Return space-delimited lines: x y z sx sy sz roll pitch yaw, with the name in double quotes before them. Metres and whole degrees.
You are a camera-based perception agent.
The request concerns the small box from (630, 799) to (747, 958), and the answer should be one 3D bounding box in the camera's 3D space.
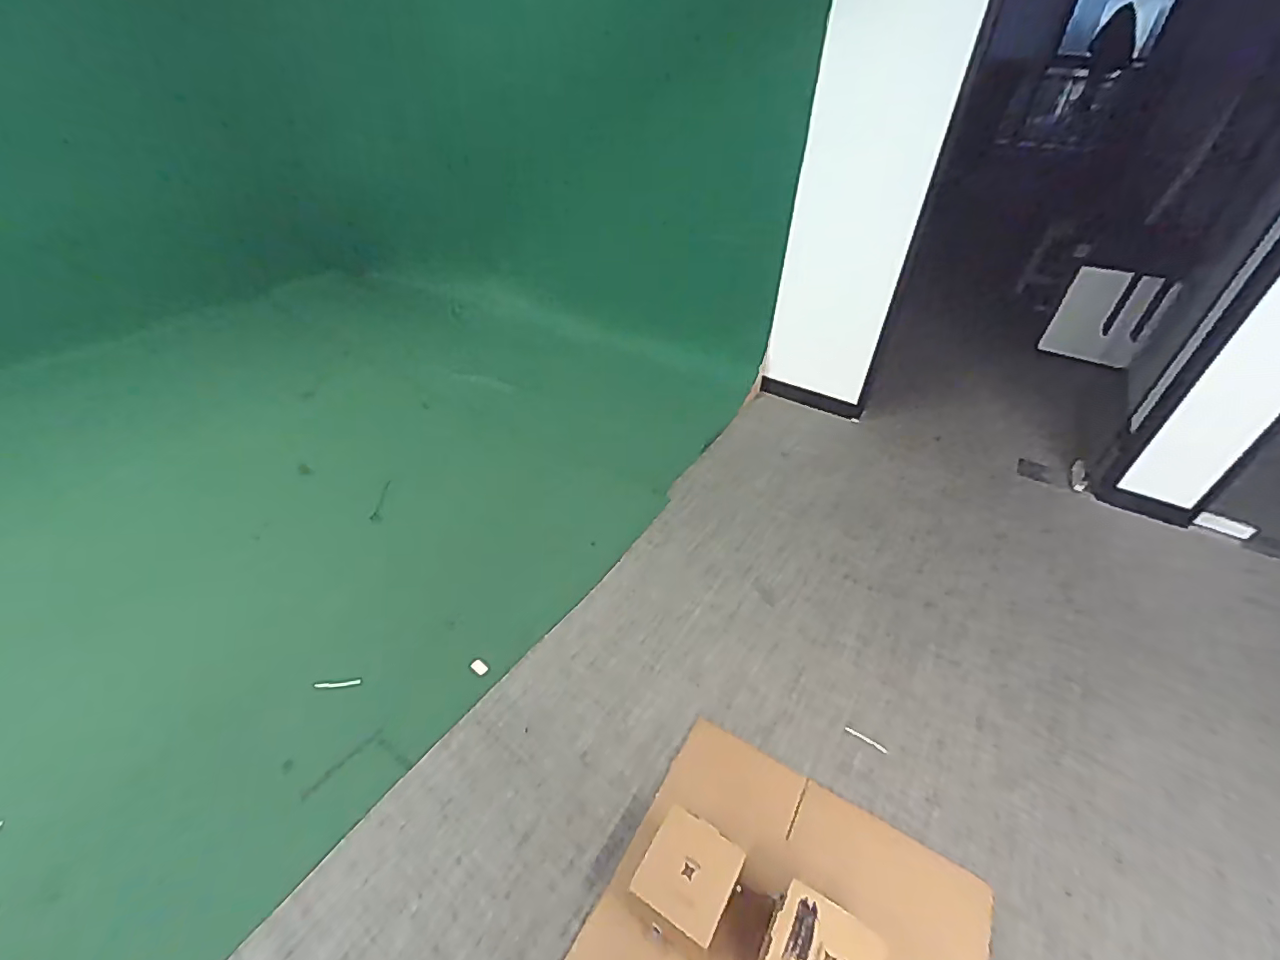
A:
"small box" 0.092 0.782 1.064 0.168 0.176 0.179 23 46 24
